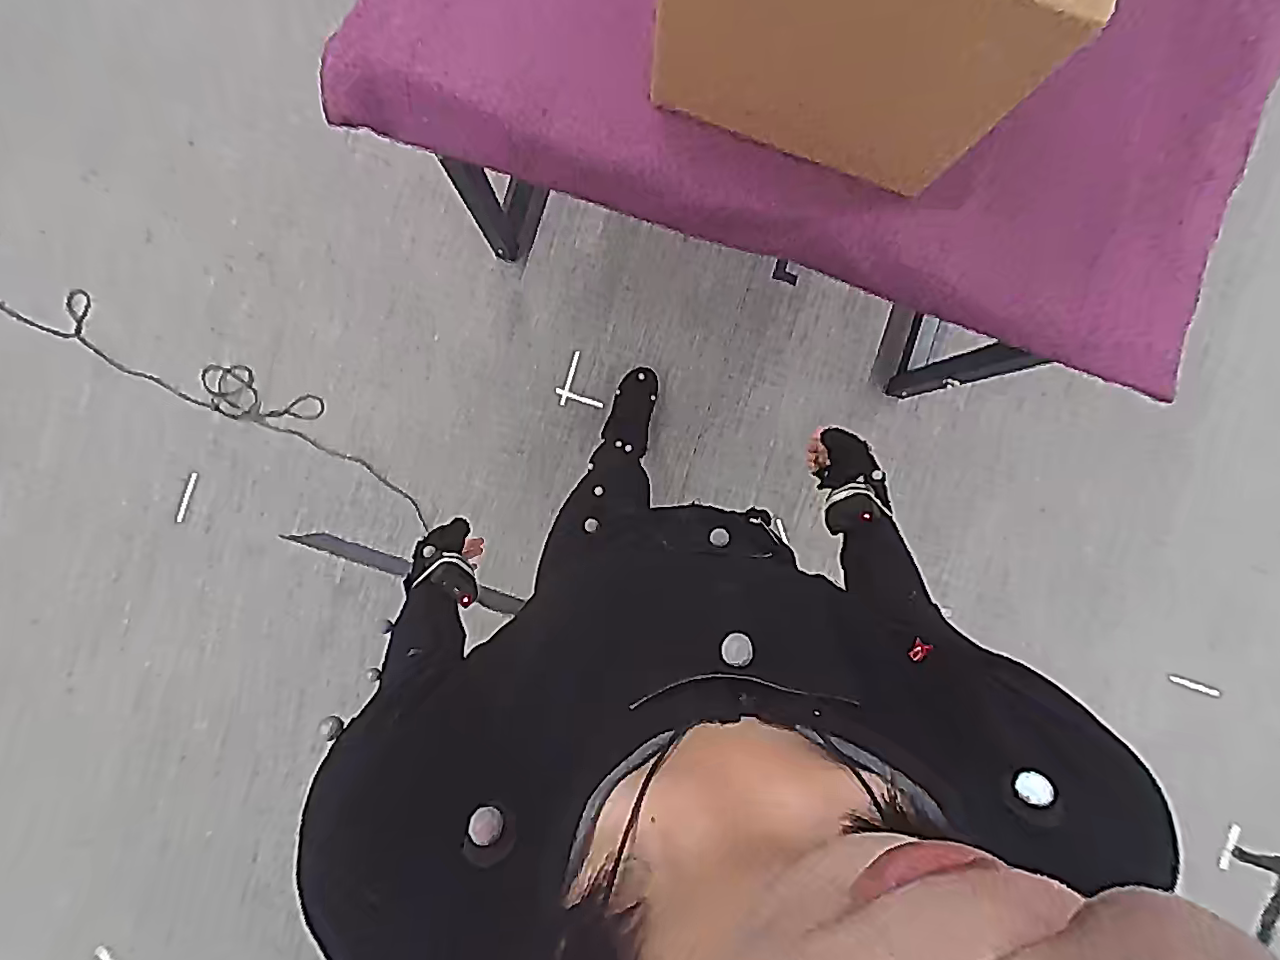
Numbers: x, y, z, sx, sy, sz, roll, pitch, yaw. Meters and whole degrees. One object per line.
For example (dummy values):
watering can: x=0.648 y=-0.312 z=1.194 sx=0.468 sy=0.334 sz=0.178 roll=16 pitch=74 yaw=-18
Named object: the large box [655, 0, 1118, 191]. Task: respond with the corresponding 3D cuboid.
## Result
large box: x=0.256 y=-0.600 z=0.608 sx=0.408 sy=0.320 sz=0.320 roll=17 pitch=92 yaw=-3
